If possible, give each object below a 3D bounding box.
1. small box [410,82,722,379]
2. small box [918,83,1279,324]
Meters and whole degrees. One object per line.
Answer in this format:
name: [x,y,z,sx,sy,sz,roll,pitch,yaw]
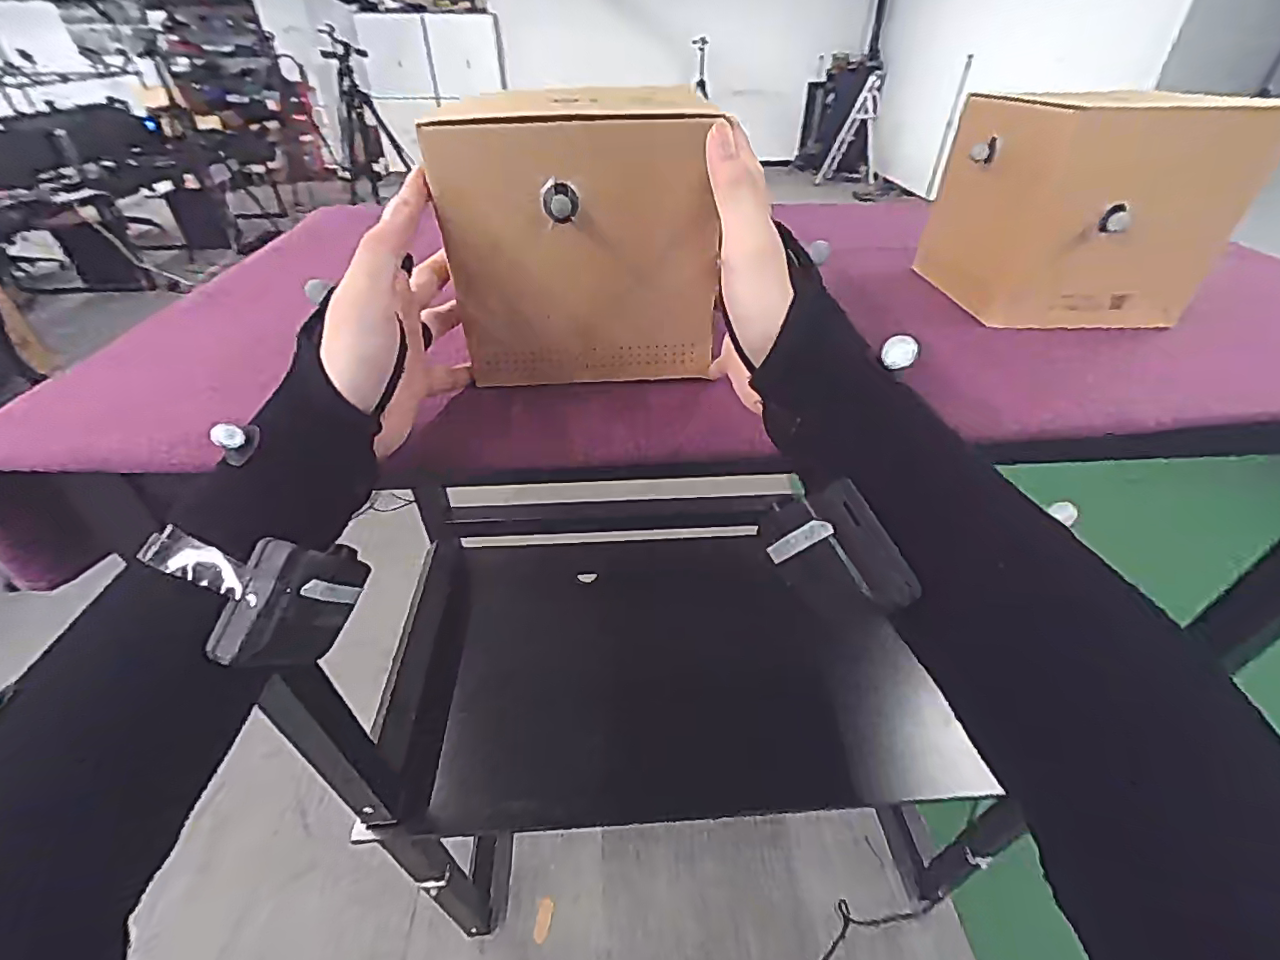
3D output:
small box: [-0.040,-0.186,0.406,0.179,0.176,0.168,-2,41,-1]
small box: [0.386,-0.250,0.491,0.168,0.176,0.179,-1,38,0]
